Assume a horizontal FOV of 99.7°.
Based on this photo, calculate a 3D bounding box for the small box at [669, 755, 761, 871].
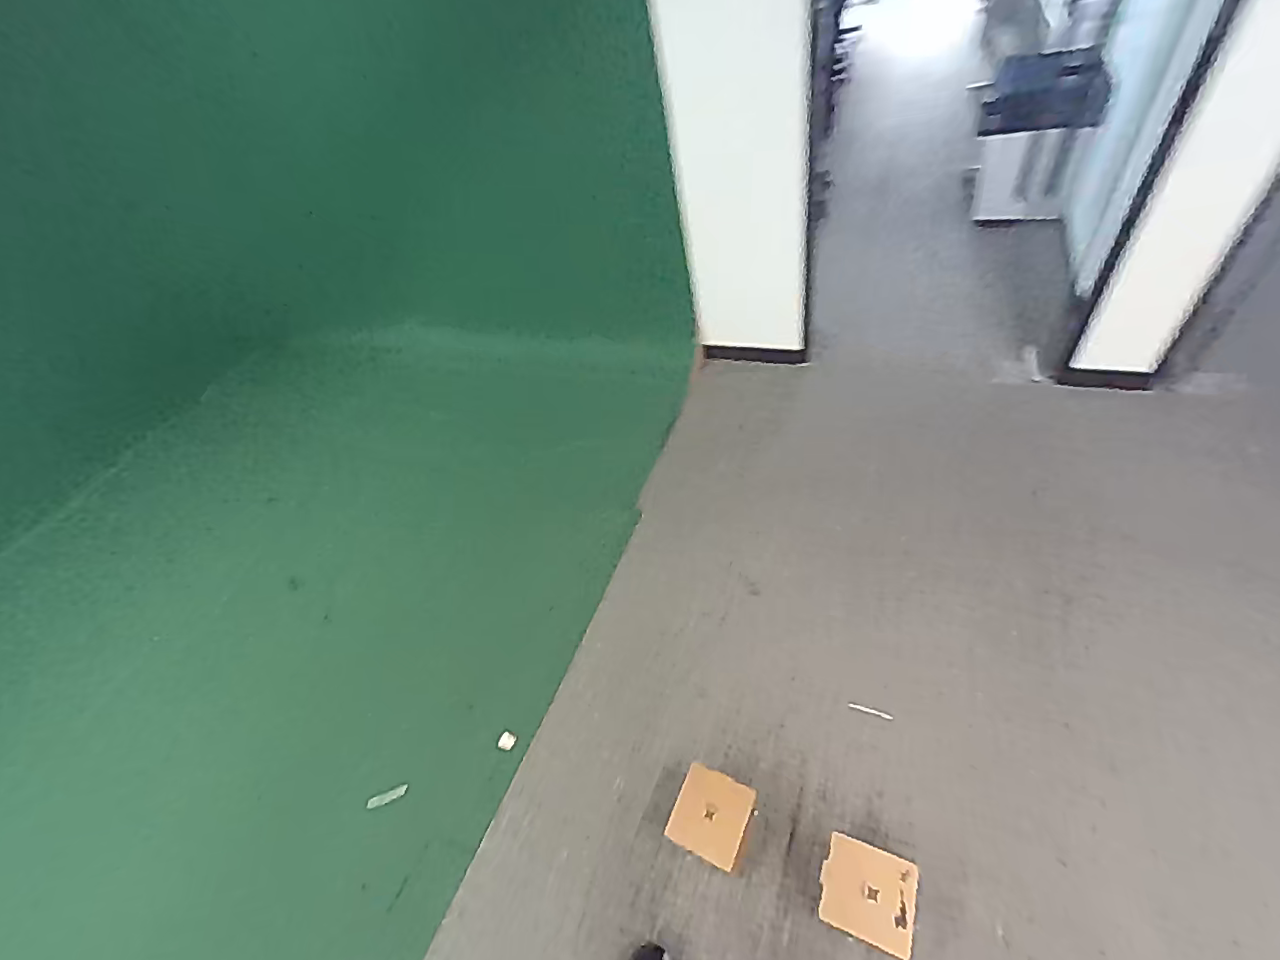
[{"bbox_3d":[0.192,0.813,1.315,0.168,0.176,0.179,14,54,26],"label":"small box"}]

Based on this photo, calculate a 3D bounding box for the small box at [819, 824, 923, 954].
[{"bbox_3d":[0.492,0.882,1.165,0.179,0.176,0.168,11,54,25],"label":"small box"}]
